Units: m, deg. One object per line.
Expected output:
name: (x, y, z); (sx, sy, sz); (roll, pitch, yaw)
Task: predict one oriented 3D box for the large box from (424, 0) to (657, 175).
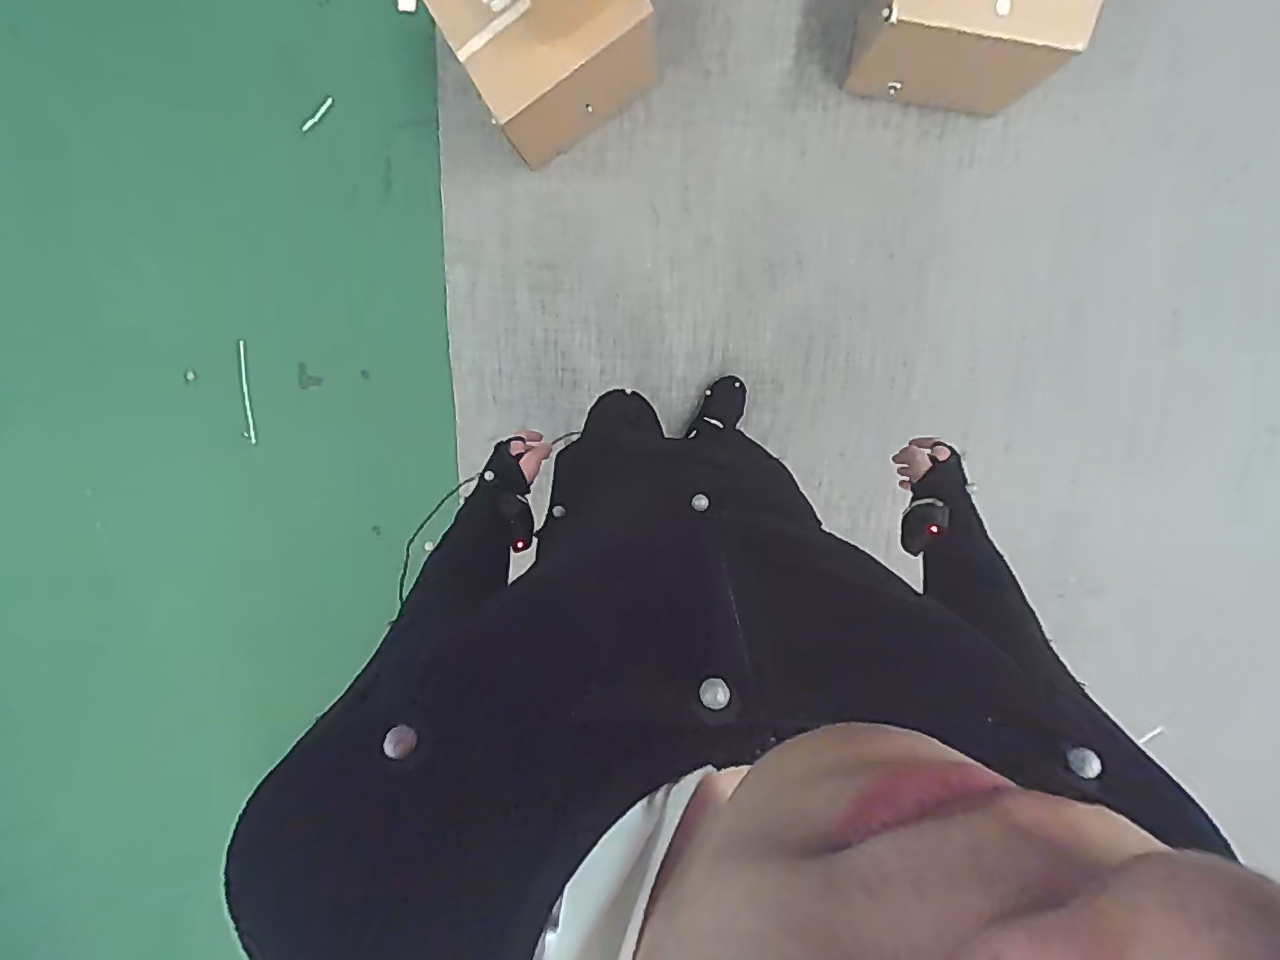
large box: (-0.208, -1.026, 1.286); (0.408, 0.320, 0.320); (-31, 97, 10)
